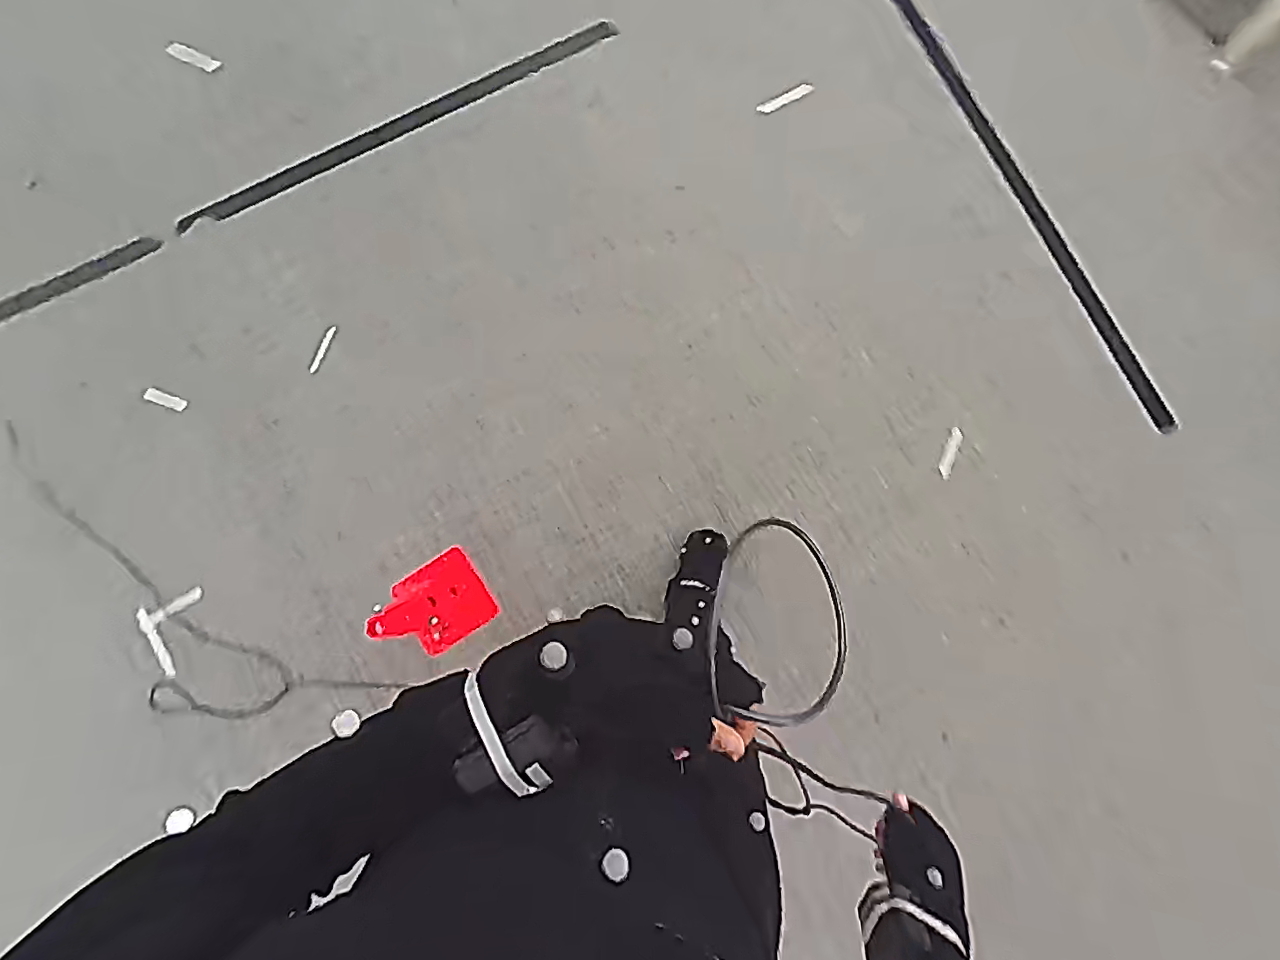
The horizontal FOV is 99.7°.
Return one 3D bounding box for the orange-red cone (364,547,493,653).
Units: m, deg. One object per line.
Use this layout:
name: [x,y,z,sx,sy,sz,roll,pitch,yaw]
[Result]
orange-red cone: [-0.467,0.268,1.113,0.199,0.360,0.198,-32,87,-5]
